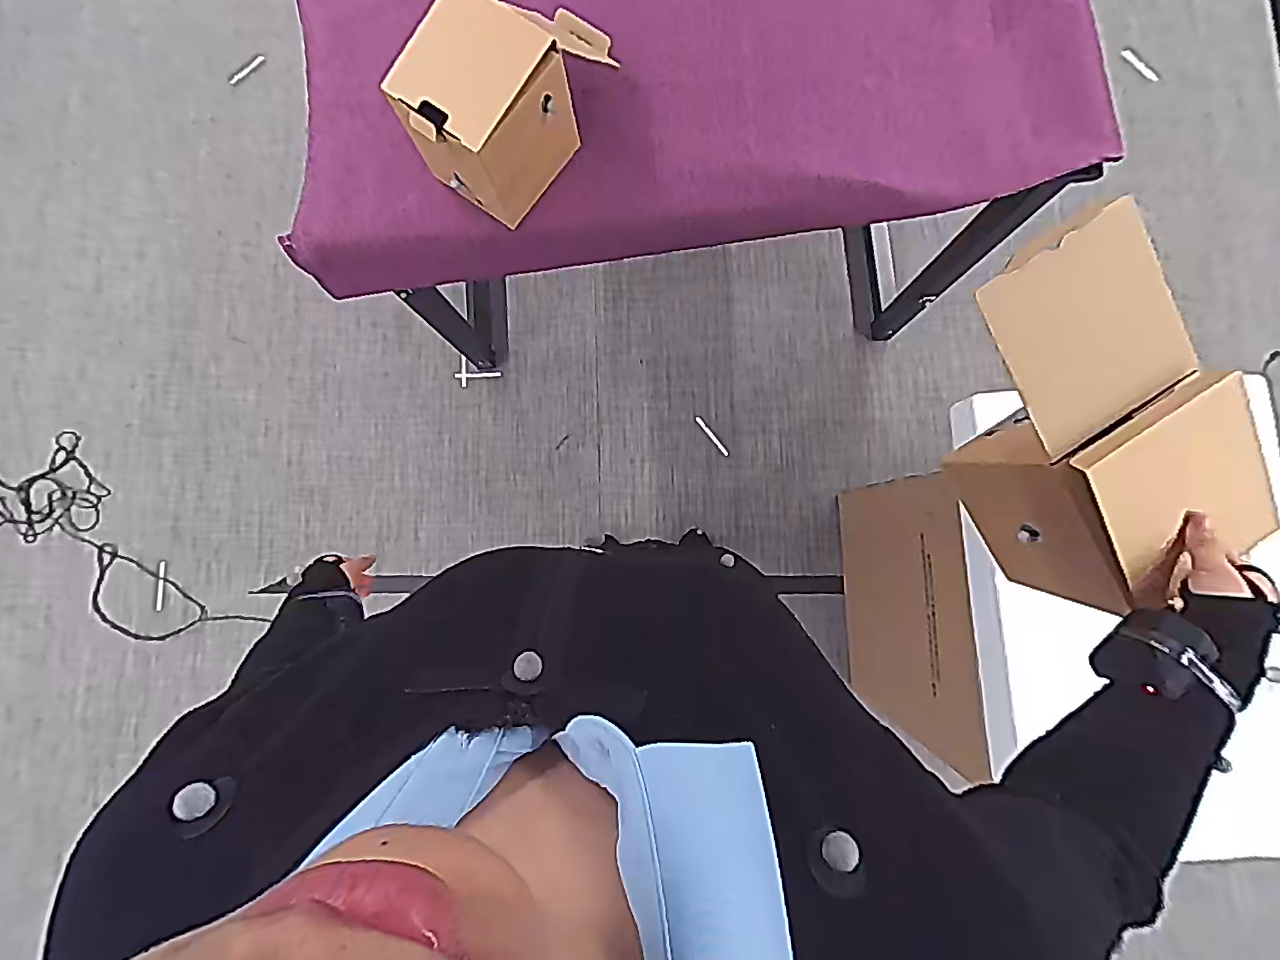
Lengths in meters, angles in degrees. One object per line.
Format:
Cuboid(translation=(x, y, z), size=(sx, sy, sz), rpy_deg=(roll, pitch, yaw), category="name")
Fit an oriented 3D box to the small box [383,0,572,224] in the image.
Cuboid(translation=(-0.213, -0.515, 0.769), size=(0.168, 0.176, 0.179), rpy_deg=(36, 86, 7), category="small box")
